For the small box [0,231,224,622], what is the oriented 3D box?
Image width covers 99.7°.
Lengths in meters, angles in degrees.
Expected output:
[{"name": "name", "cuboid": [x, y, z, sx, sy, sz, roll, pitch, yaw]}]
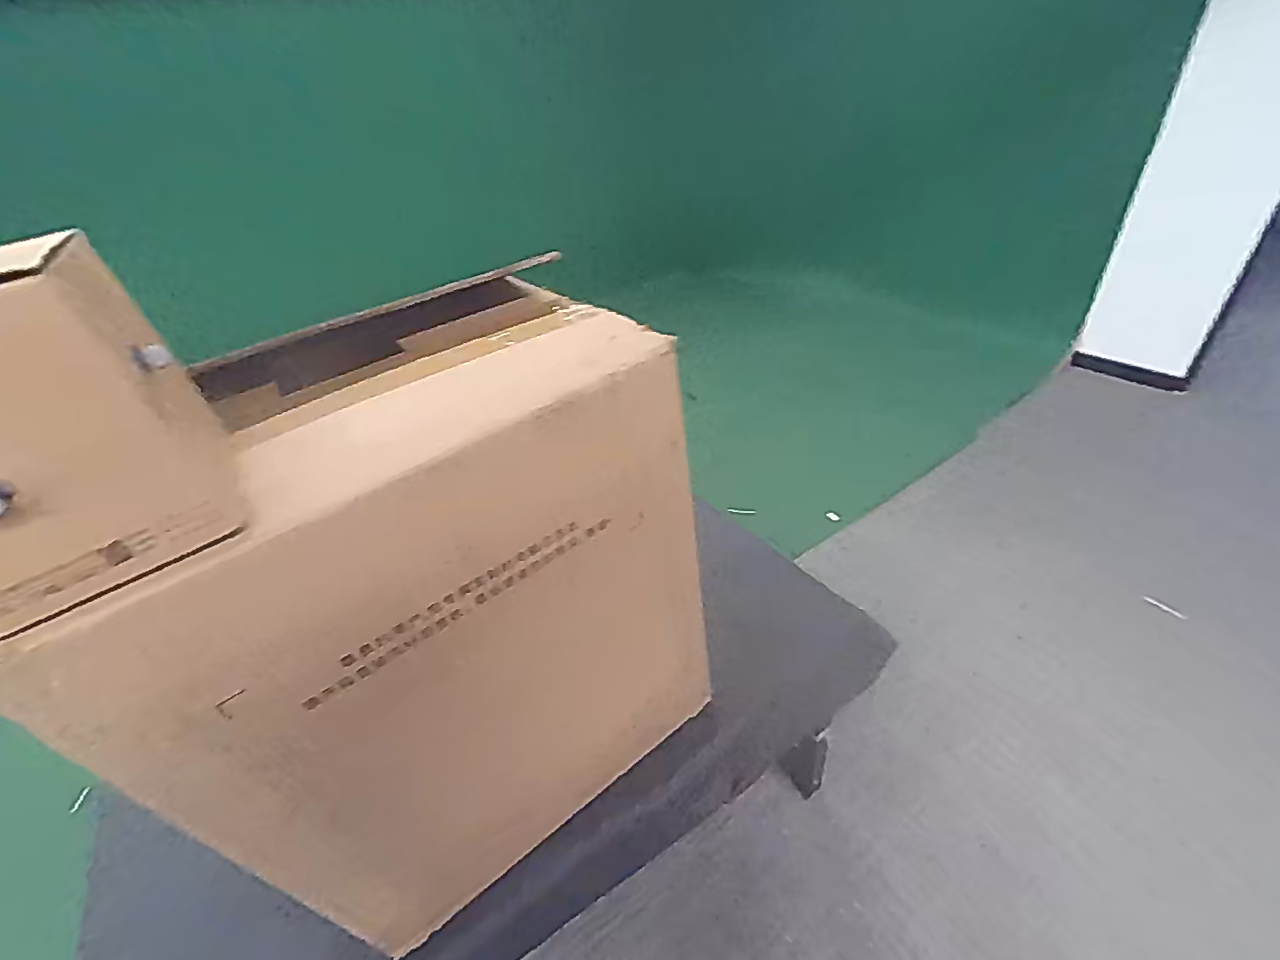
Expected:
[{"name": "small box", "cuboid": [-0.393, -0.029, 0.330, 0.168, 0.176, 0.179, -30, 43, -23]}]
